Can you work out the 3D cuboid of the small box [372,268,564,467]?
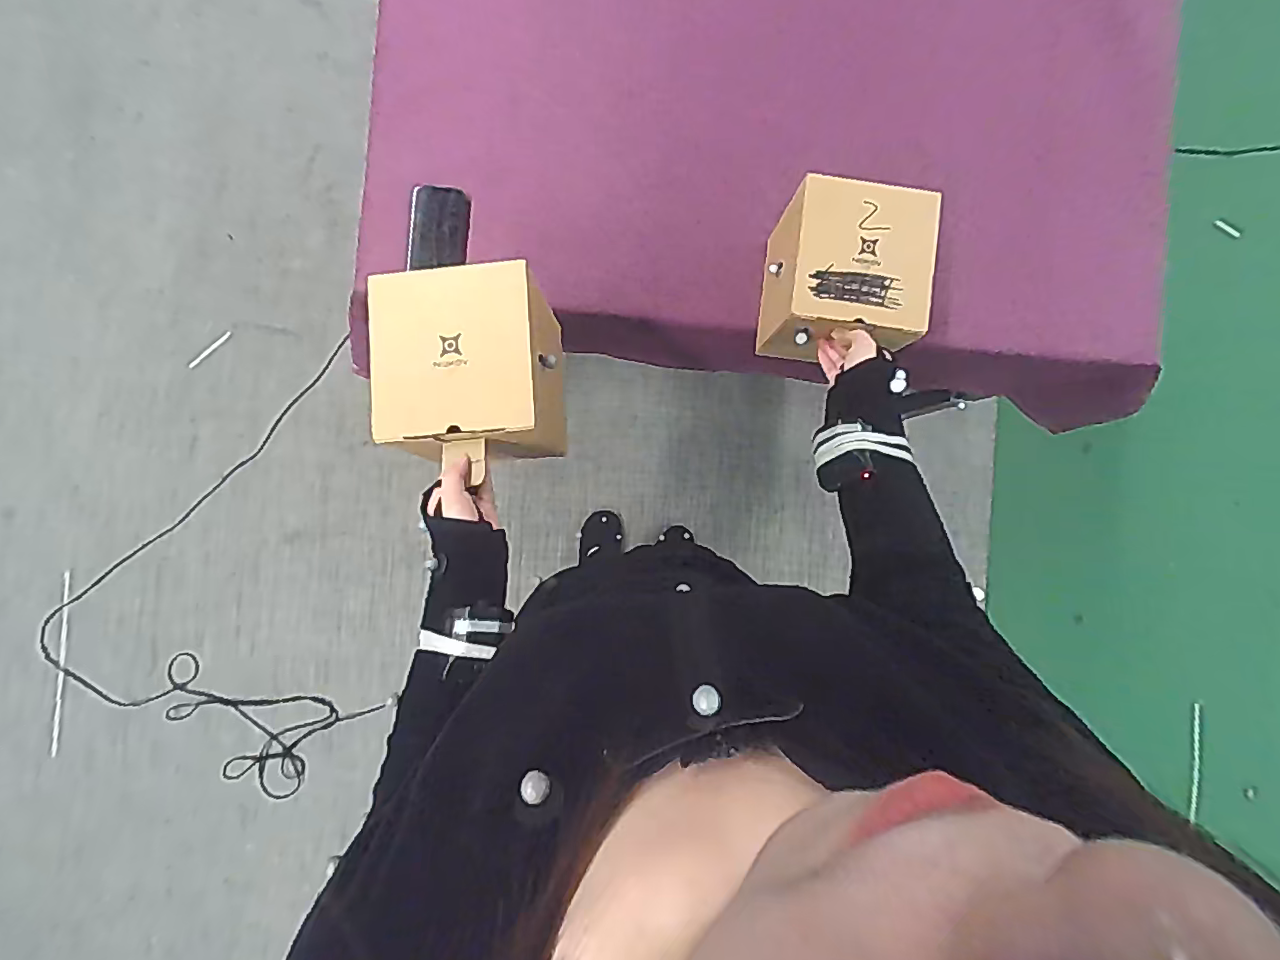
[{"bbox_3d":[-0.187,-0.118,0.626,0.168,0.176,0.179,-5,84,3],"label":"small box"}]
